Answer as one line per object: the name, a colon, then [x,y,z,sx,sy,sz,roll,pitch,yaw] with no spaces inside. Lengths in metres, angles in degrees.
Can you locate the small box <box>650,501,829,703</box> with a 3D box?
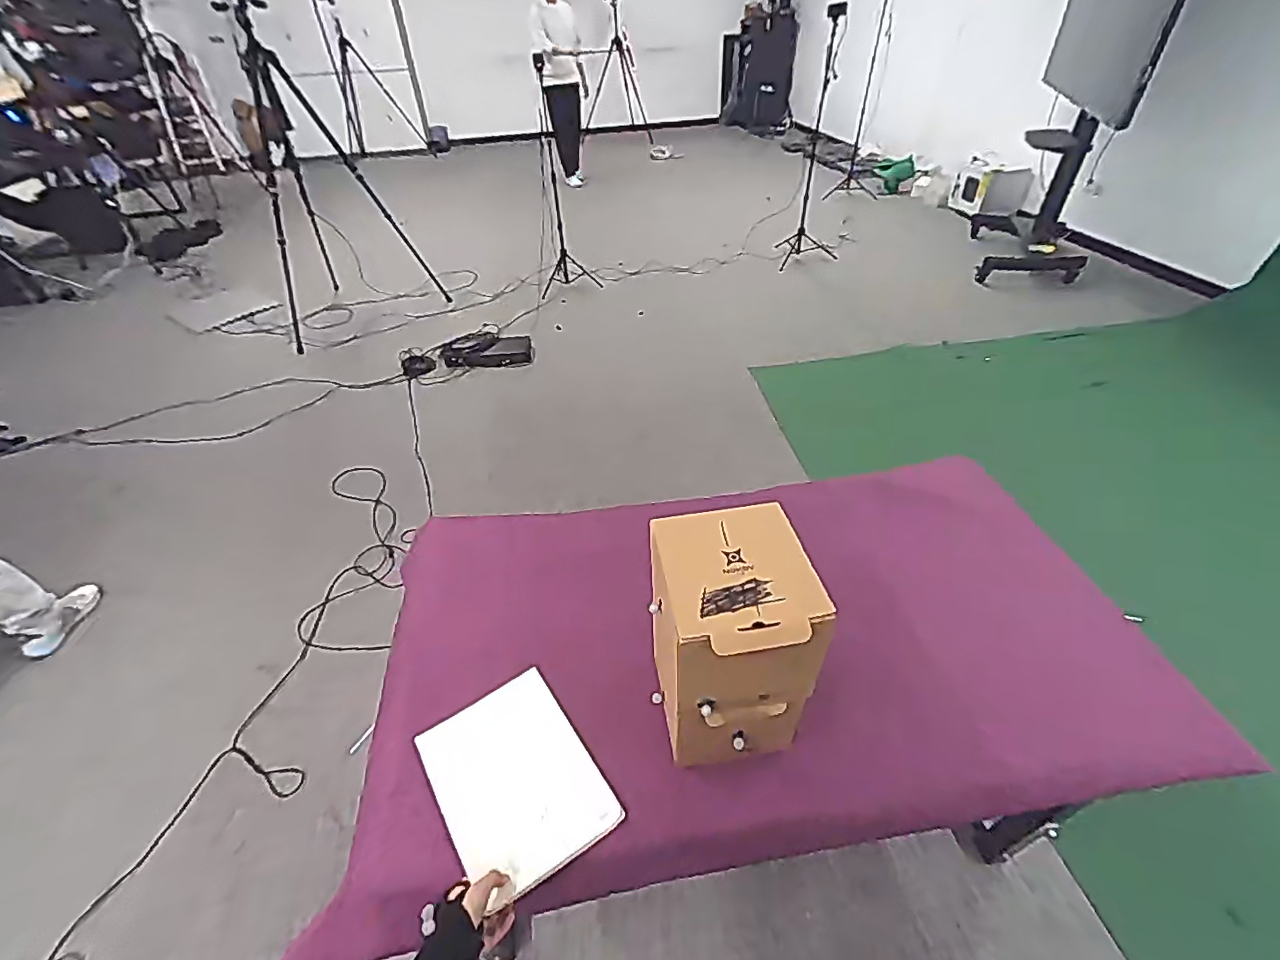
small box: [0.109,0.152,0.661,0.168,0.176,0.179,-7,40,-5]

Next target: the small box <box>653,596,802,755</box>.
small box: [0.115,0.272,0.775,0.168,0.176,0.179,-7,42,-5]
